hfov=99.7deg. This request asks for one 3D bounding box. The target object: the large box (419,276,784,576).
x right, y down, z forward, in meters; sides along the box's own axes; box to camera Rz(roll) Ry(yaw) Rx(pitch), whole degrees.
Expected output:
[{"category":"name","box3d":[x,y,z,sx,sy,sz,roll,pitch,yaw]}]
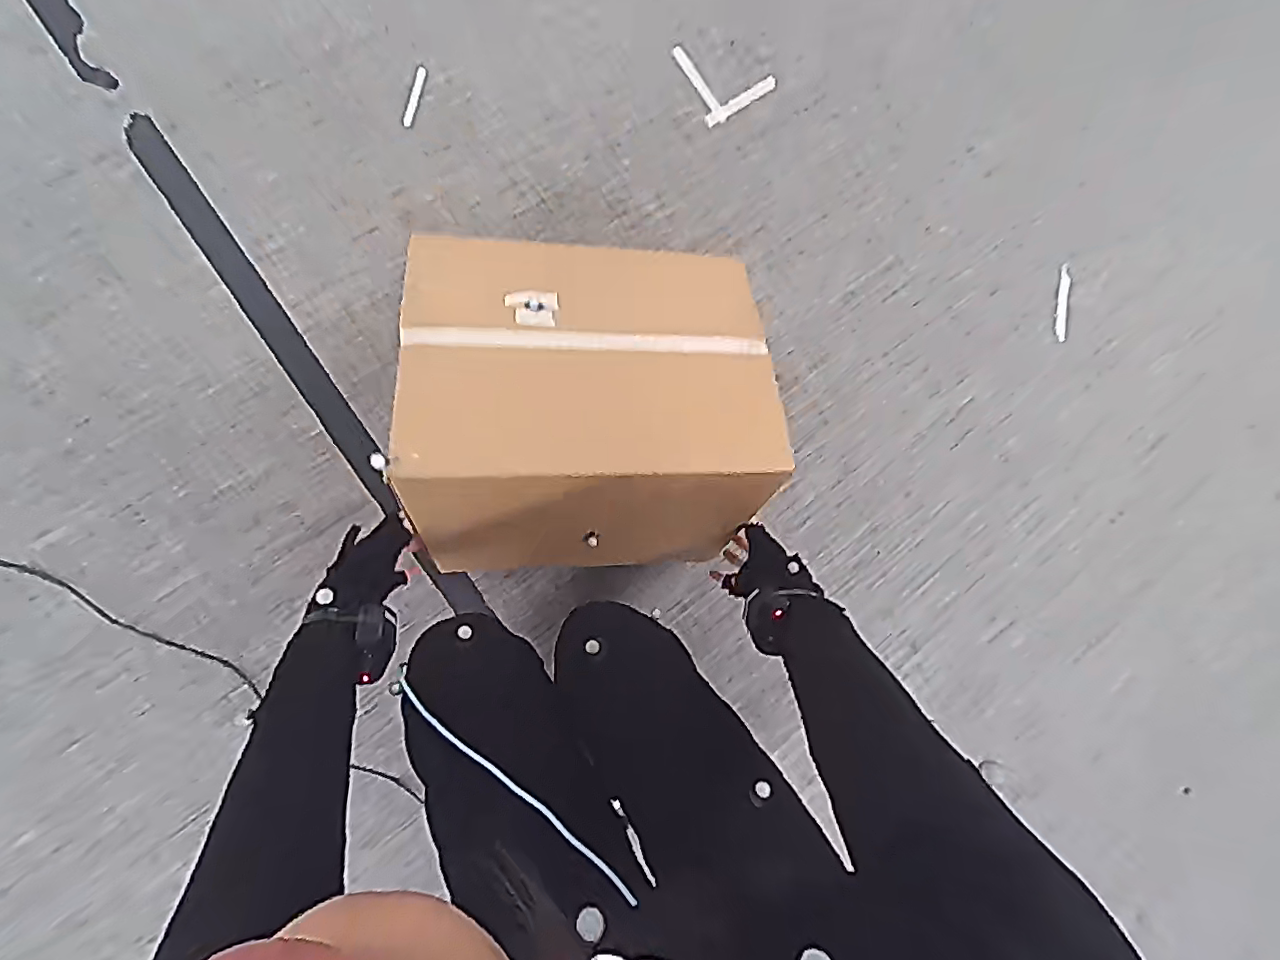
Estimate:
[{"category":"large box","box3d":[-0.067,-0.060,0.772,0.408,0.320,0.320,-2,65,-11]}]
